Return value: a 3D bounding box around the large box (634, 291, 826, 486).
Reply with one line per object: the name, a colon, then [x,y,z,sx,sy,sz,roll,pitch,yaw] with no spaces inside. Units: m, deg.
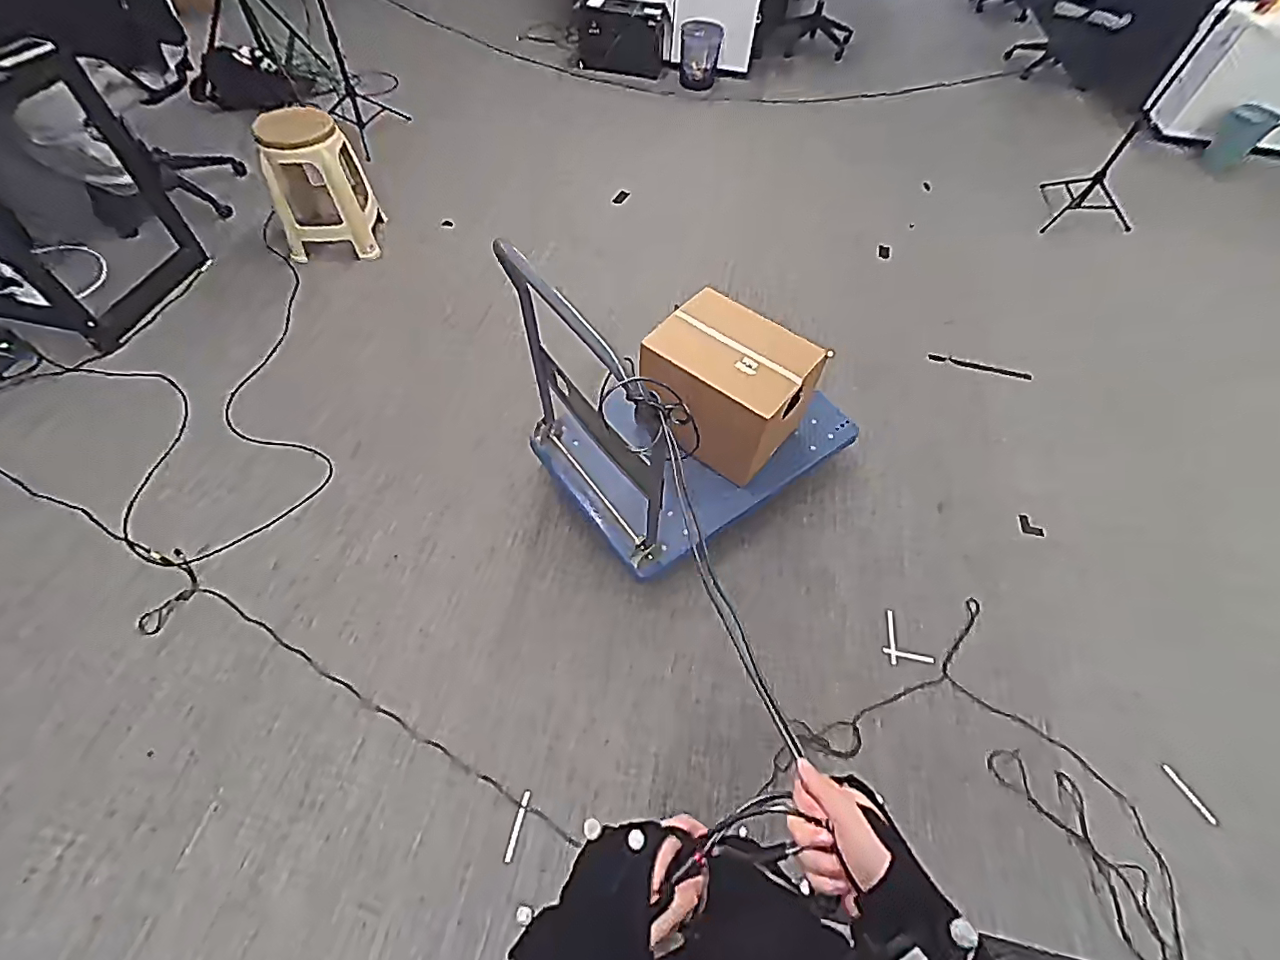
large box: [0.236,-0.259,1.540,0.408,0.320,0.320,35,62,18]
